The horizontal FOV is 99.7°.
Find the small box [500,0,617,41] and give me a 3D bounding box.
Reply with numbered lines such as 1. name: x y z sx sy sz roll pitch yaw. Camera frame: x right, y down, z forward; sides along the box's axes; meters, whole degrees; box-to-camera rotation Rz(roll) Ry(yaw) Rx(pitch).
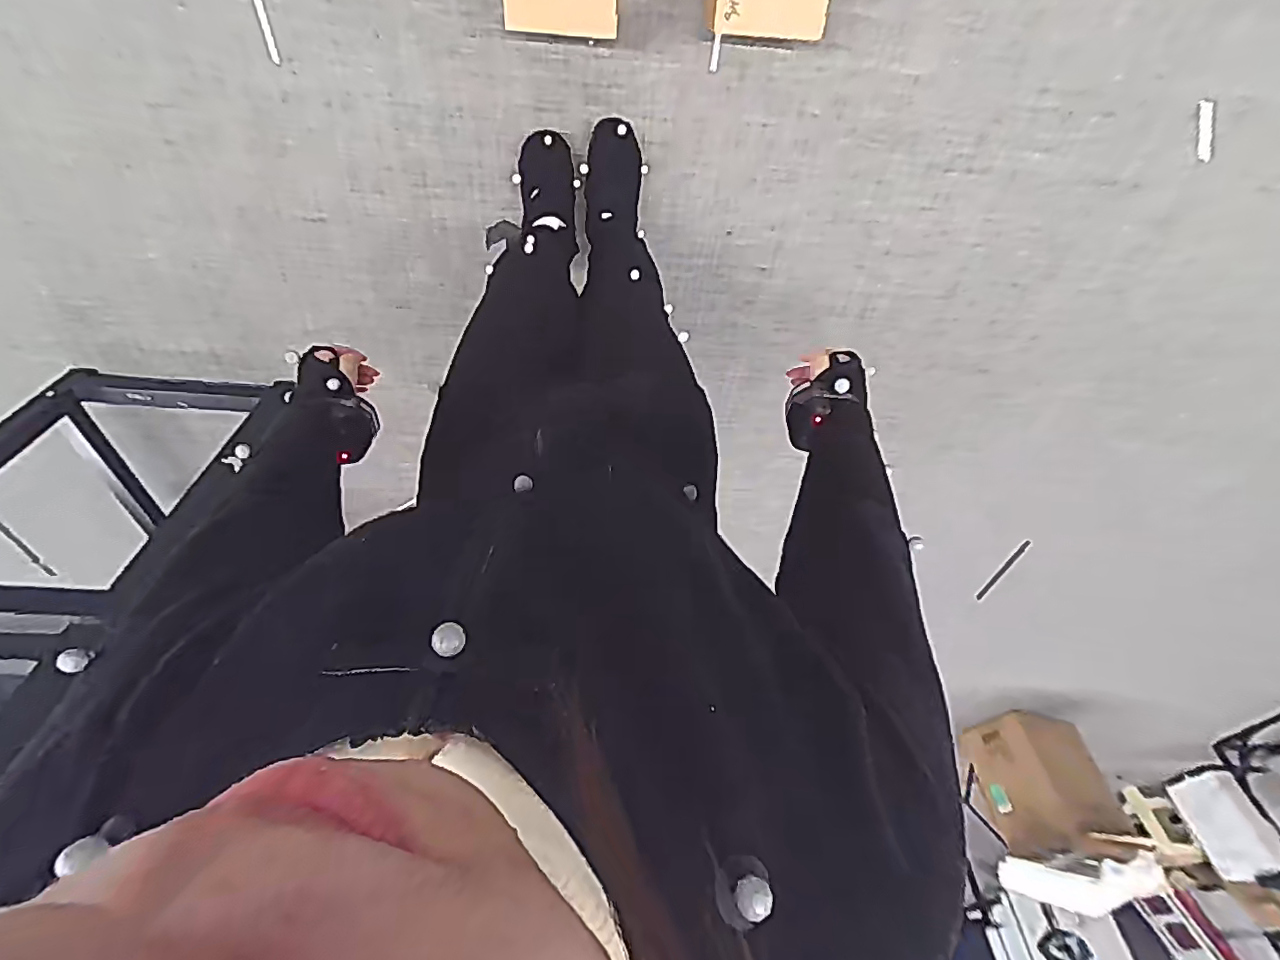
1. small box: -0.121 -0.804 0.836 0.179 0.176 0.168 2 134 -4

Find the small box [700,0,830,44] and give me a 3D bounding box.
1. small box: 0.199 -0.805 0.844 0.179 0.176 0.168 2 135 -4
